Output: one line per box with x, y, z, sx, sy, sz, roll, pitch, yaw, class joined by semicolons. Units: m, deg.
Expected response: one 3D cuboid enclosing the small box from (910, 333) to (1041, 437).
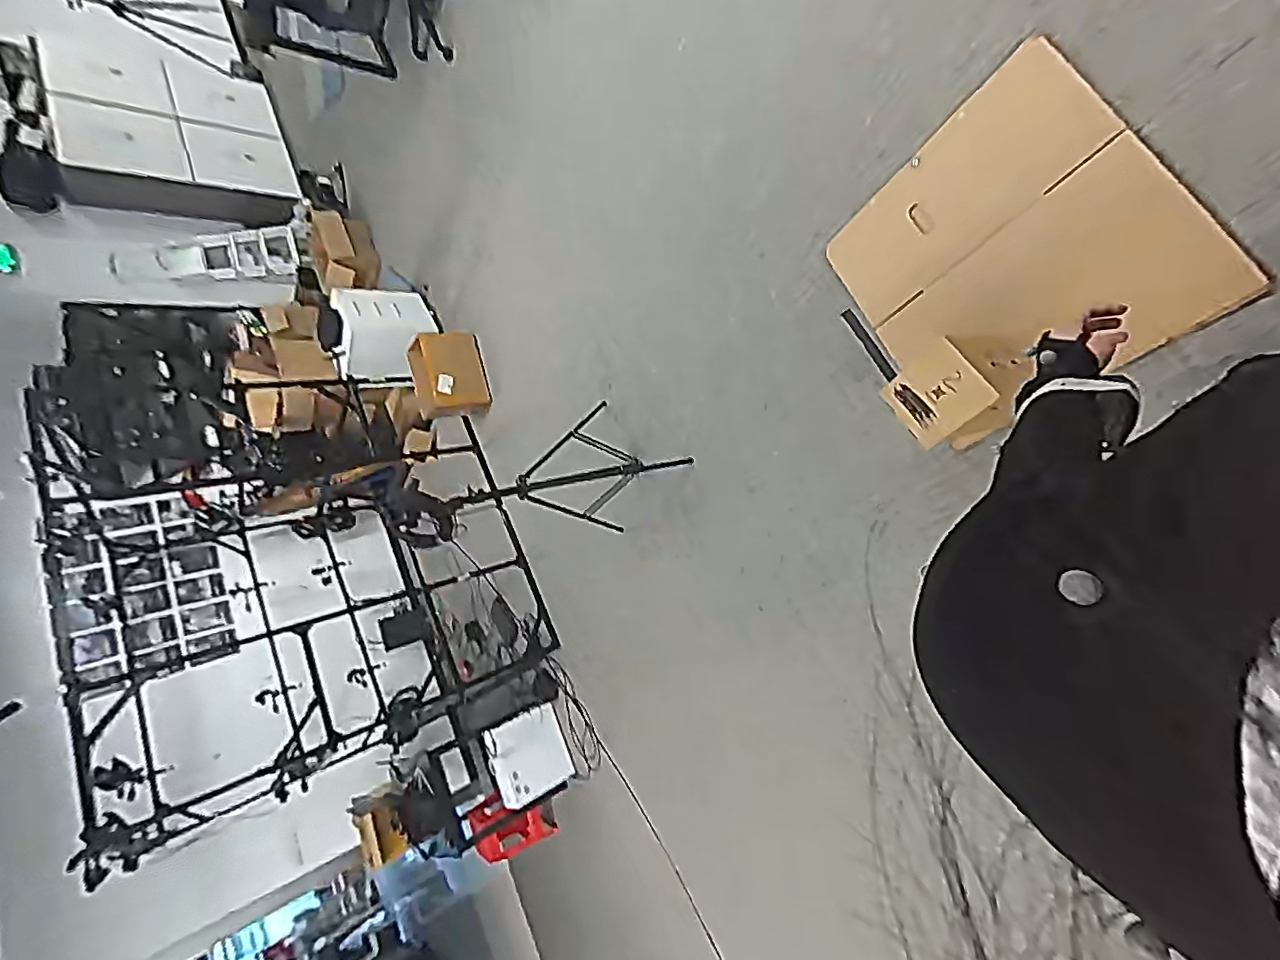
0.784;-0.224;1.264;0.168;0.176;0.179;57;136;22;small box
